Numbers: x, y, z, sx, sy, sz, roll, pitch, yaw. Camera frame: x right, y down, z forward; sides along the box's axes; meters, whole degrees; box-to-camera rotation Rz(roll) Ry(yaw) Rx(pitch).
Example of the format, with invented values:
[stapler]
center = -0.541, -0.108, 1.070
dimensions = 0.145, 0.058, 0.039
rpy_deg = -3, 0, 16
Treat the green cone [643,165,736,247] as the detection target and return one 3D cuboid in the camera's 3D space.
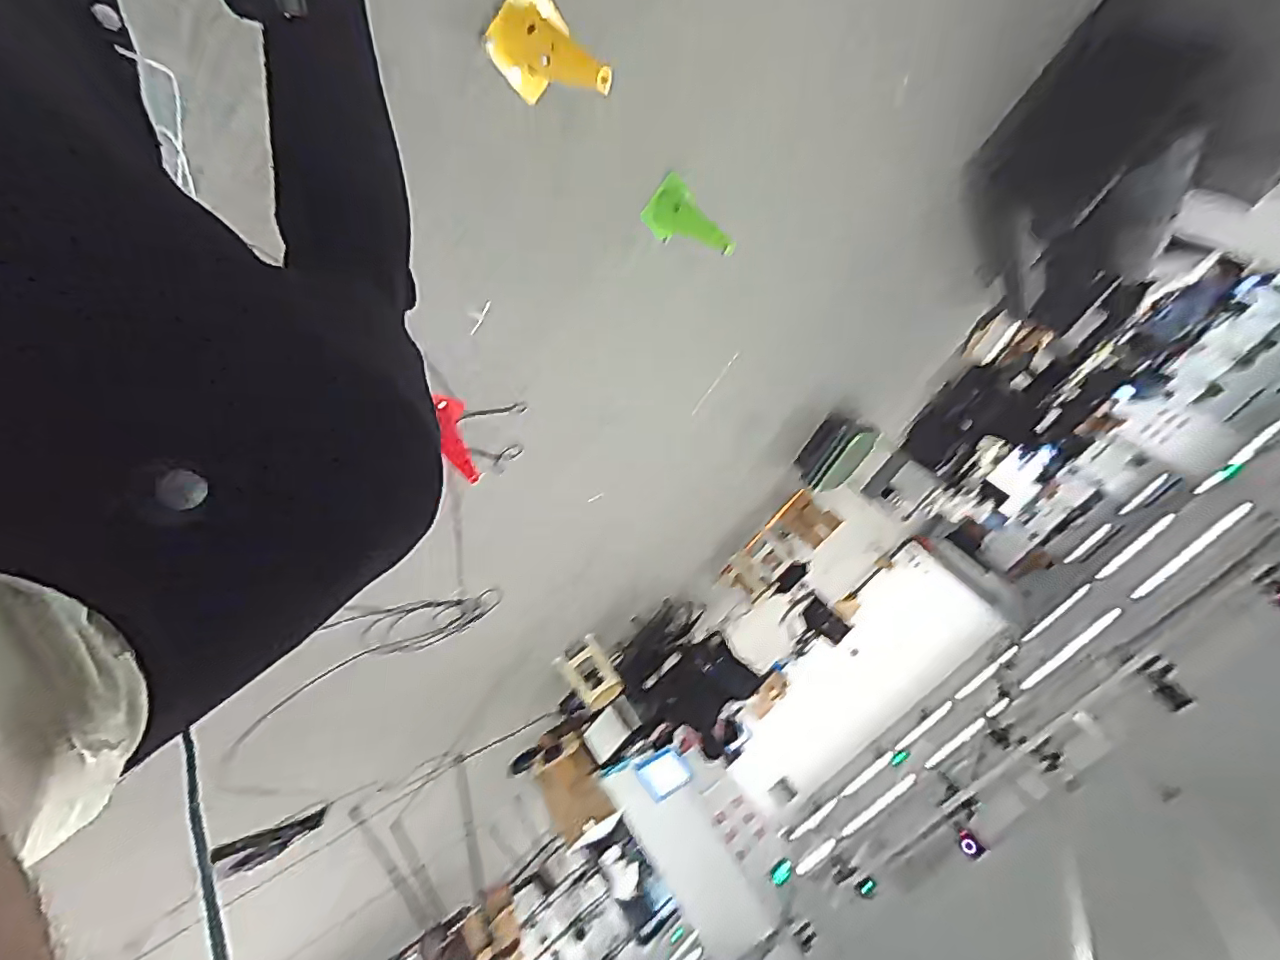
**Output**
[green cone]
center = 0.214, -0.932, 1.940
dimensions = 0.200, 0.368, 0.202
rpy_deg = -51, 149, 14
